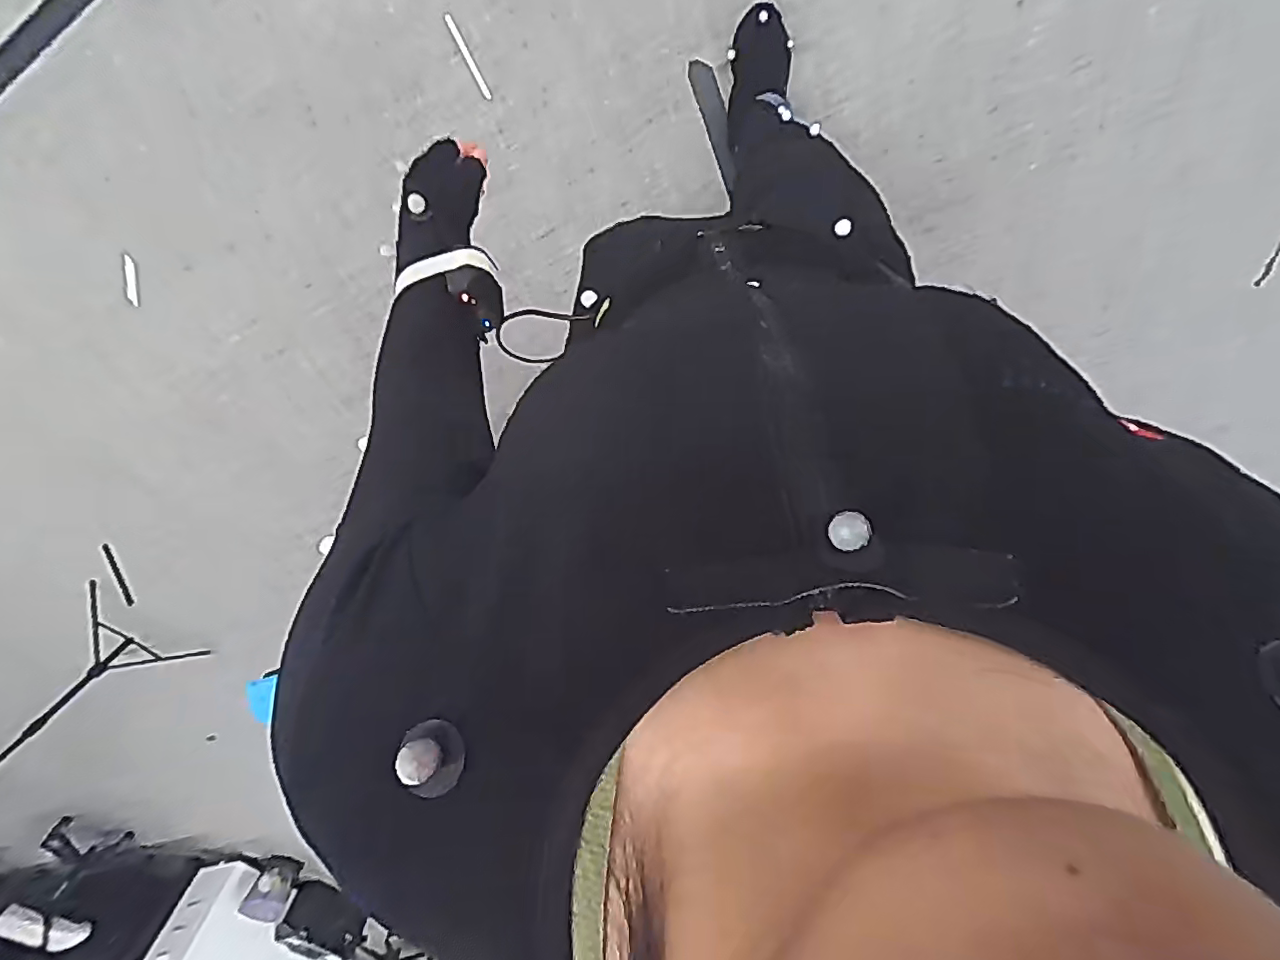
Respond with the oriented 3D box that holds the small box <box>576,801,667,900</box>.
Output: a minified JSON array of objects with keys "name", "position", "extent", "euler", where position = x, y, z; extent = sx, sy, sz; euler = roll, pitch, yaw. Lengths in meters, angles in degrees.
[{"name":"small box","position":[-0.041,0.939,1.357],"extent":[0.179,0.176,0.168],"euler":[-16,122,15]}]

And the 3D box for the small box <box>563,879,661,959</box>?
[{"name":"small box","position":[-0.058,1.043,1.230],"extent":[0.179,0.176,0.168],"euler":[-14,123,12]}]
